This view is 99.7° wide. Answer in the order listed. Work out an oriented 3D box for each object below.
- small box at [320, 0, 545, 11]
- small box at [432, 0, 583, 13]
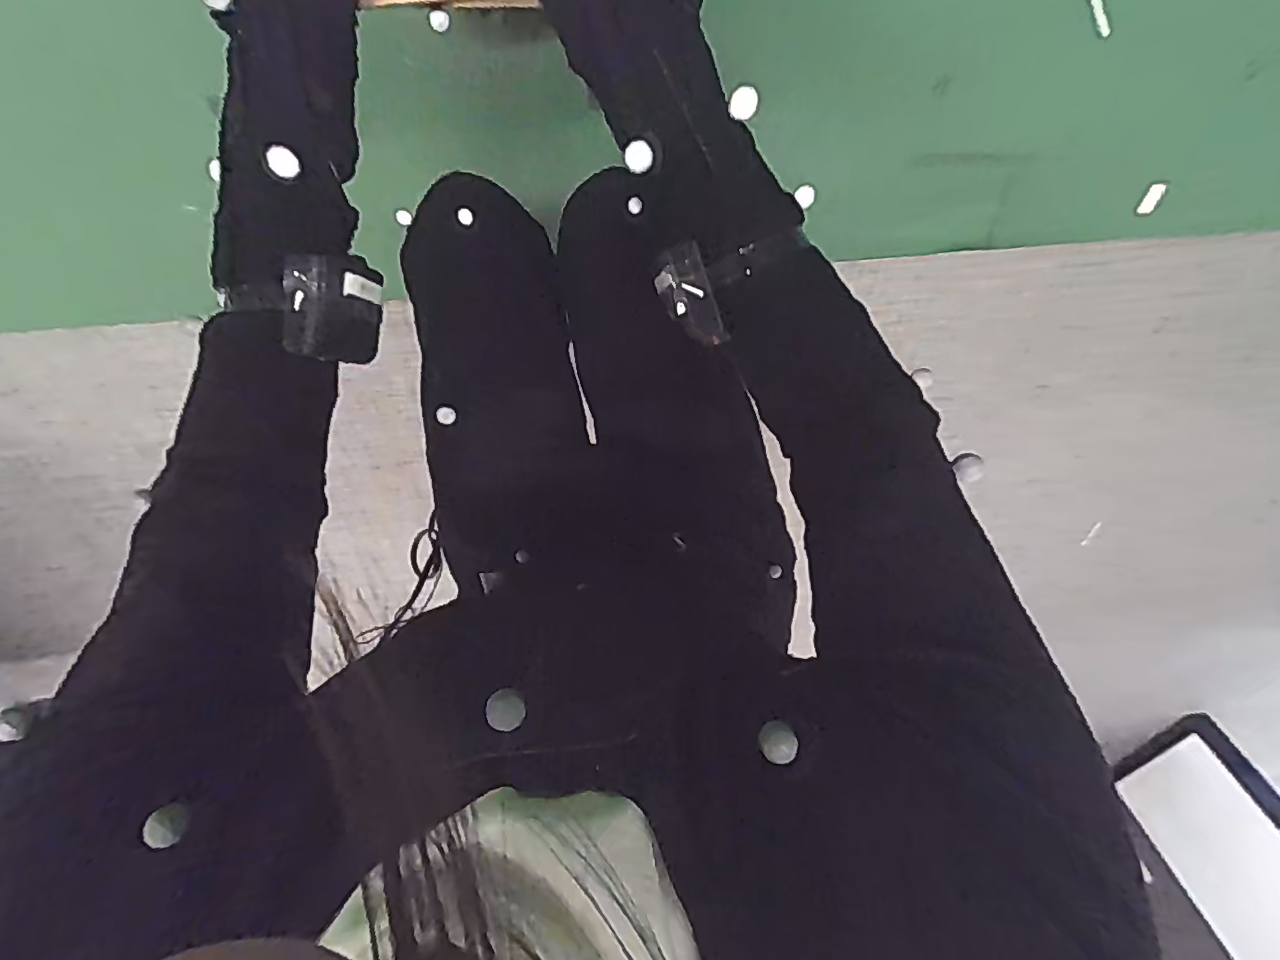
[{"bbox_3d":[-0.107,-0.391,0.311,0.168,0.176,0.179,-2,132,4],"label":"small box"},{"bbox_3d":[-0.150,-0.614,0.571,0.168,0.176,0.179,-4,134,-3],"label":"small box"}]
